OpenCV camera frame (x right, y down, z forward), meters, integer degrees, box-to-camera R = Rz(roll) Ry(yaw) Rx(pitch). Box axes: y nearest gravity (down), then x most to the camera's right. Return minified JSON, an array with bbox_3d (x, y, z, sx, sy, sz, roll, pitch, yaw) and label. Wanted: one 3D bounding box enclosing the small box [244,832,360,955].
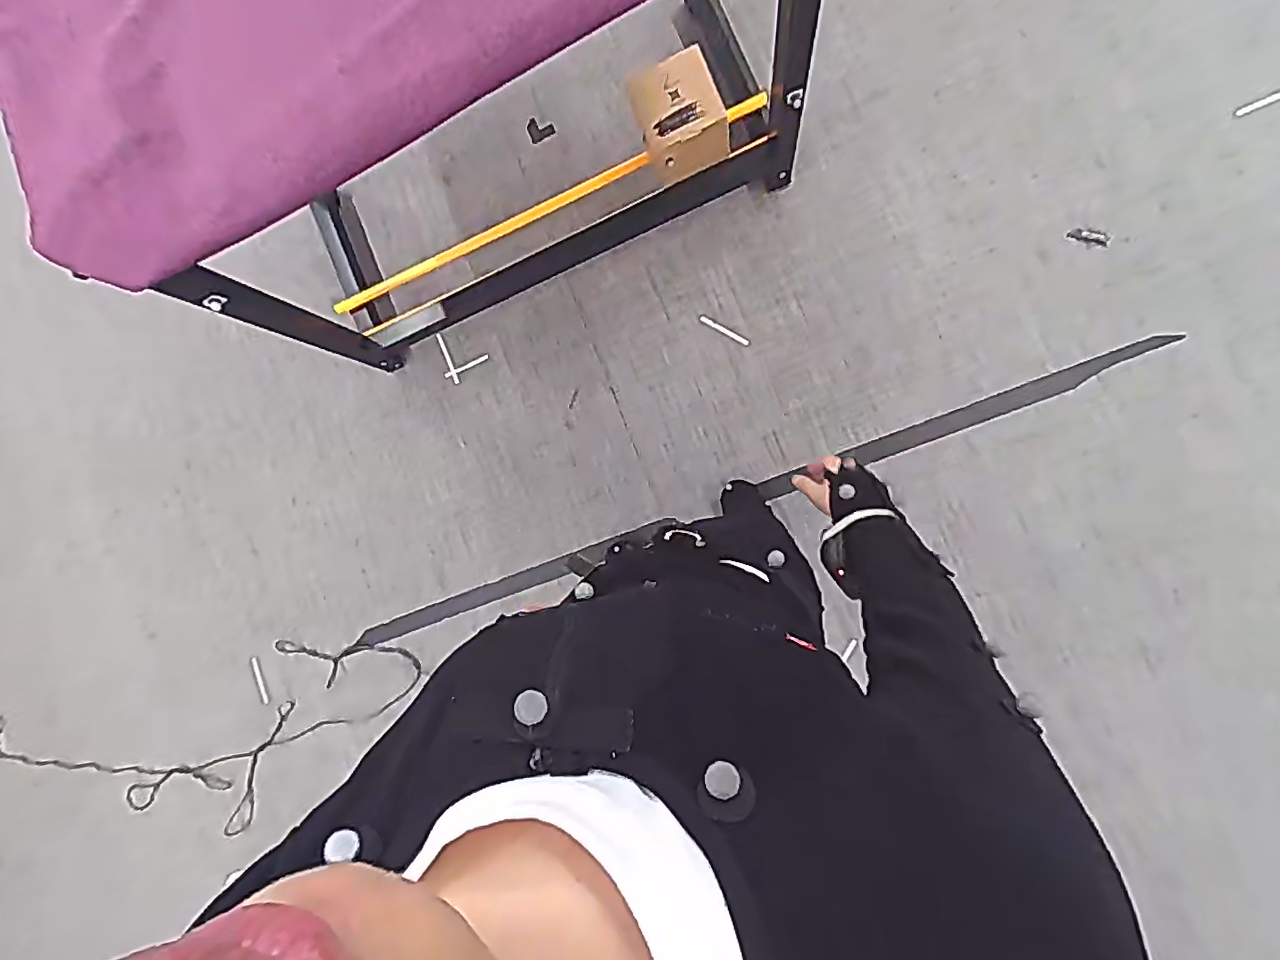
[{"bbox_3d":[-0.873,1.071,1.412,0.168,0.176,0.179,-22,86,7],"label":"small box"}]
